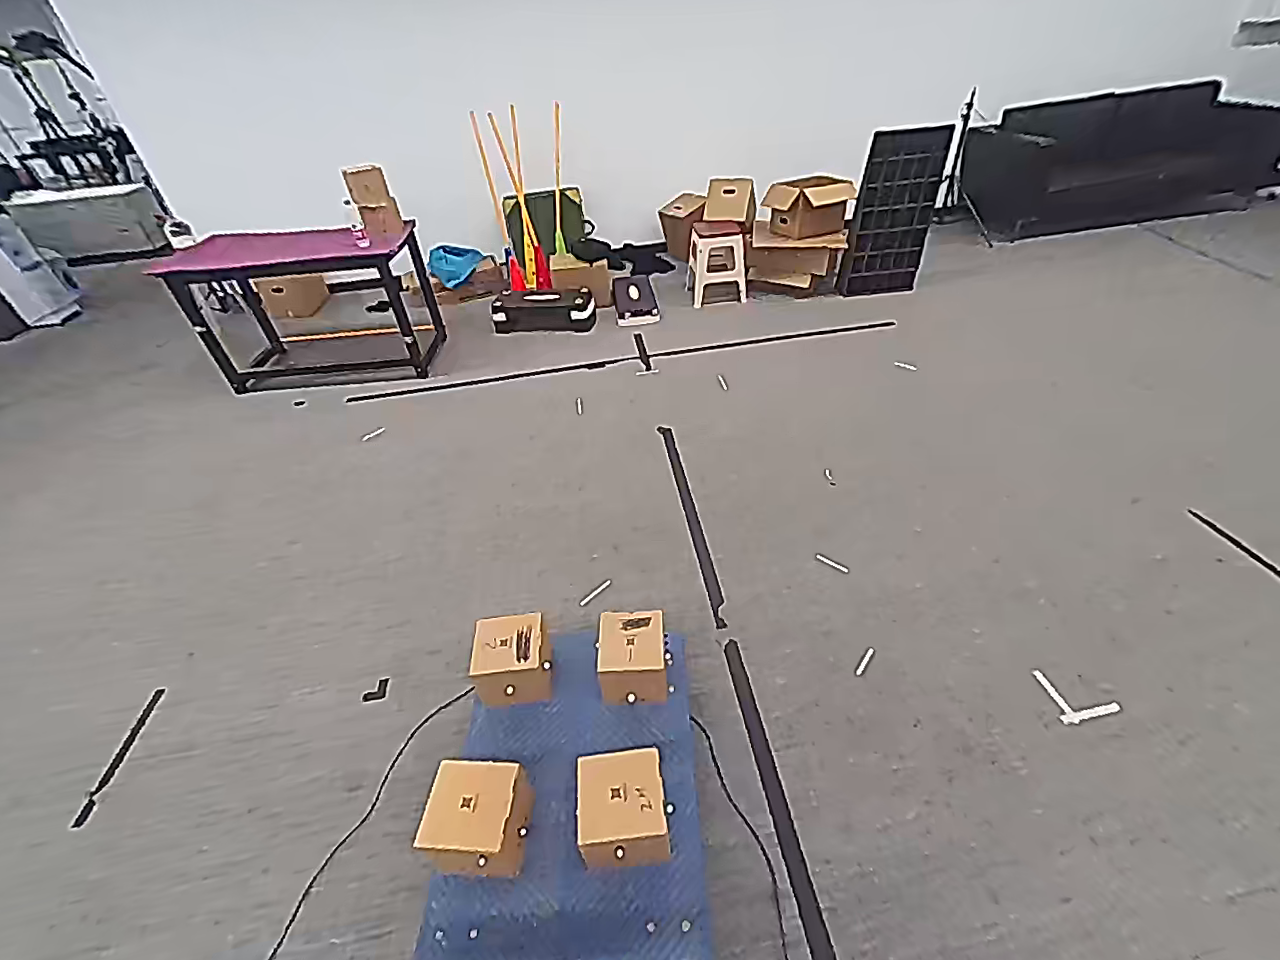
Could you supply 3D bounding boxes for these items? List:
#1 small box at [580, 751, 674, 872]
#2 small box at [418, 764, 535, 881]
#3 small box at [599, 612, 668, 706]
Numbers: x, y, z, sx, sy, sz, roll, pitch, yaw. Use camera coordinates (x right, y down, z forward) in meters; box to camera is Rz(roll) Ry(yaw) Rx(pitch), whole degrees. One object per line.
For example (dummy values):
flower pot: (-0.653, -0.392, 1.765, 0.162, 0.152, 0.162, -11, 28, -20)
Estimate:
small box: (-0.027, 0.701, 1.142, 0.179, 0.176, 0.168, -7, 40, -1)
small box: (-0.336, 0.728, 1.149, 0.179, 0.176, 0.168, 0, 39, 4)
small box: (-0.013, 0.470, 1.420, 0.168, 0.176, 0.179, -3, 41, 2)
